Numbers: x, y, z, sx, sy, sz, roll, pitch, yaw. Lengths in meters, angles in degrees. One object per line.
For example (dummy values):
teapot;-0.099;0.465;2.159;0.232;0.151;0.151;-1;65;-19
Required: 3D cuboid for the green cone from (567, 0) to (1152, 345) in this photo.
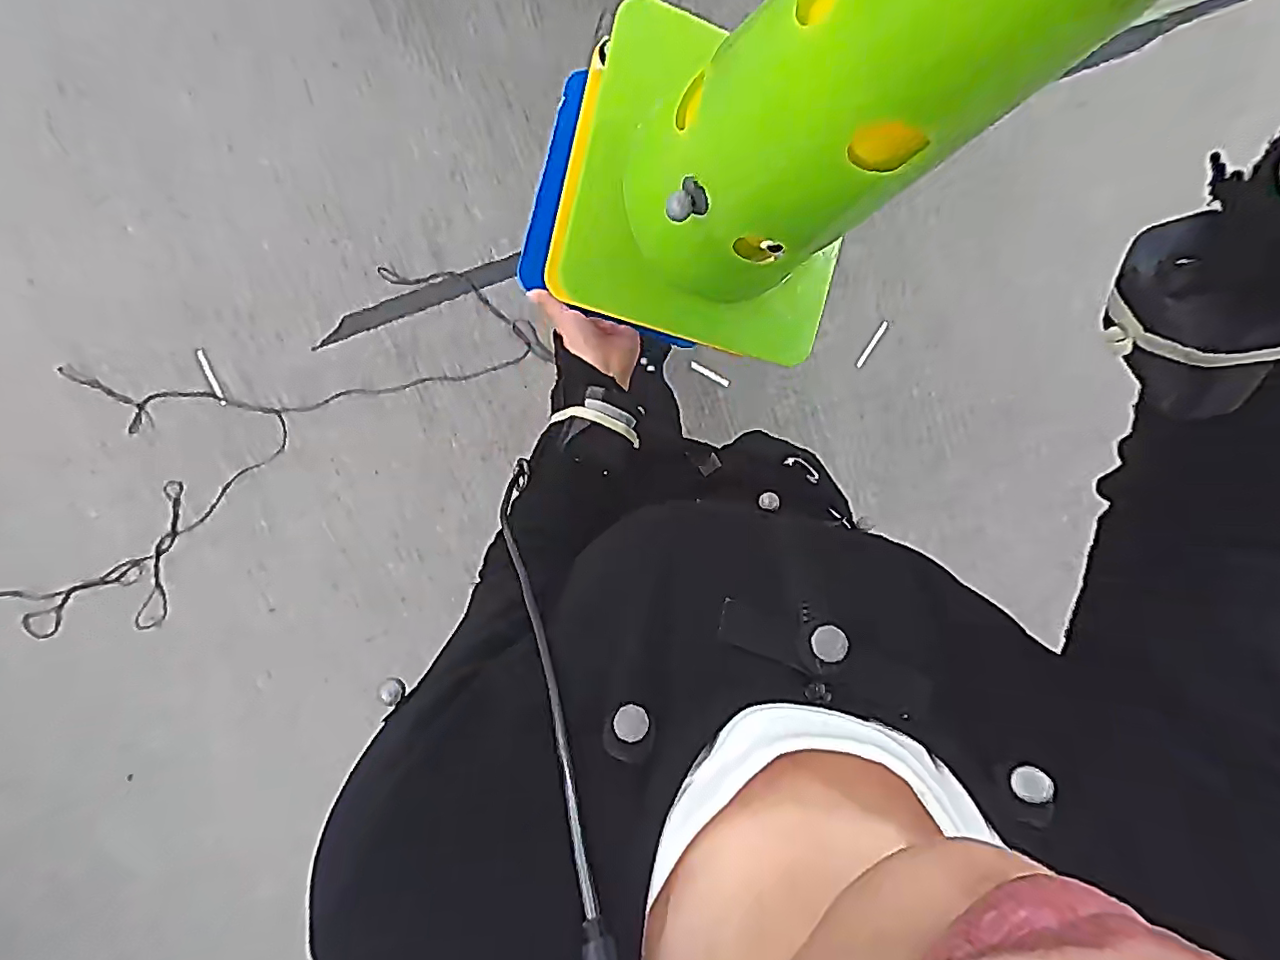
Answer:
green cone;0.106;-0.179;0.203;0.200;0.368;0.202;12;97;-16
